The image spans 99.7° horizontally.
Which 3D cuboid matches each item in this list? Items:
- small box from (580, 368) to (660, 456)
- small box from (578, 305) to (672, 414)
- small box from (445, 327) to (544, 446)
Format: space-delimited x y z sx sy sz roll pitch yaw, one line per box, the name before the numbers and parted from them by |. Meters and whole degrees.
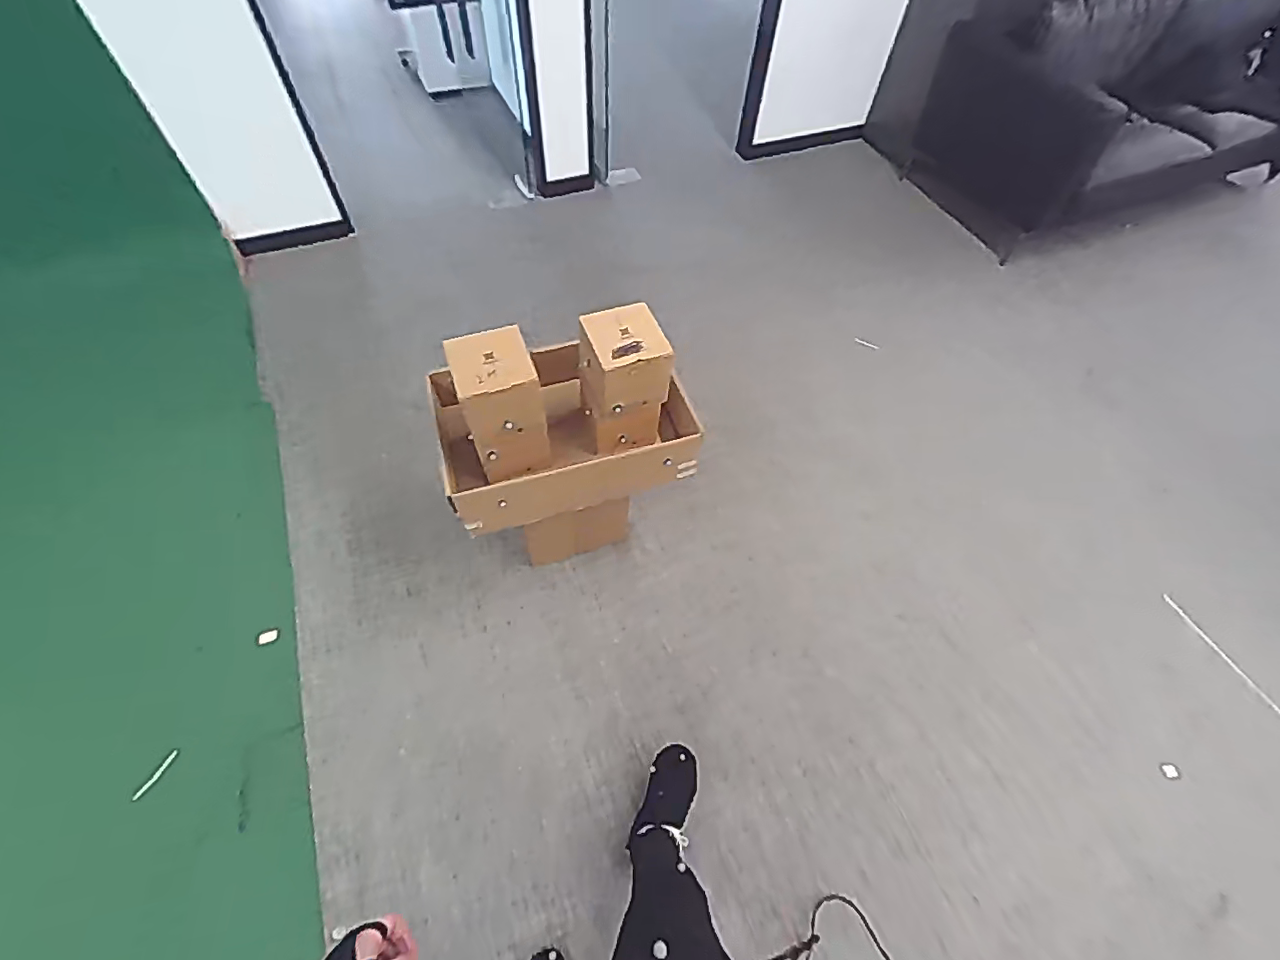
small box | -0.058 -0.189 1.406 0.168 0.176 0.179 -13 60 -12
small box | -0.039 -0.275 1.267 0.168 0.176 0.179 -17 60 -15
small box | -0.320 -0.206 1.201 0.168 0.176 0.179 -17 60 -13
